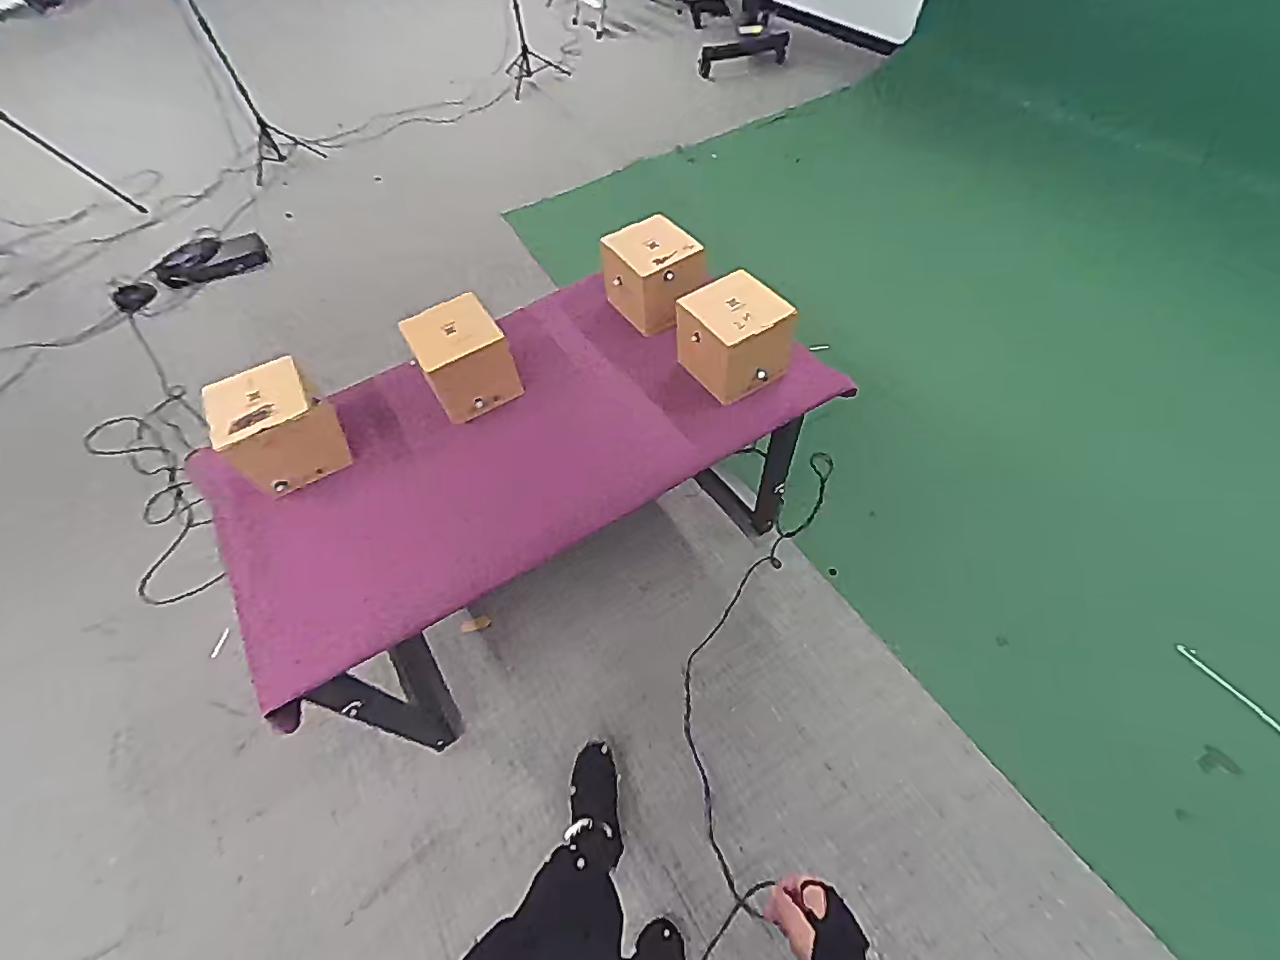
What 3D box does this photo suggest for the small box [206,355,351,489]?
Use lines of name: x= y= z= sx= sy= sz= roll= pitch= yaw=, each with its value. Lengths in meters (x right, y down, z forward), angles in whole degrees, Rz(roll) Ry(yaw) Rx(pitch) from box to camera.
small box: x=-0.698 y=-0.104 z=1.058 sx=0.168 sy=0.176 sz=0.179 roll=-27 pitch=59 yaw=-15

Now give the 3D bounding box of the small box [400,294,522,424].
small box: x=-0.372 y=-0.252 z=1.140 sx=0.168 sy=0.176 sz=0.179 roll=-30 pitch=60 yaw=-14

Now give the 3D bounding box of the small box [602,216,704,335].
small box: x=0.030 y=-0.472 z=1.257 sx=0.168 sy=0.176 sz=0.179 roll=-31 pitch=59 yaw=-15

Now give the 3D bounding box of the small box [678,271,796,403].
small box: x=0.192 y=-0.293 z=1.120 sx=0.168 sy=0.176 sz=0.179 roll=-29 pitch=58 yaw=-13
